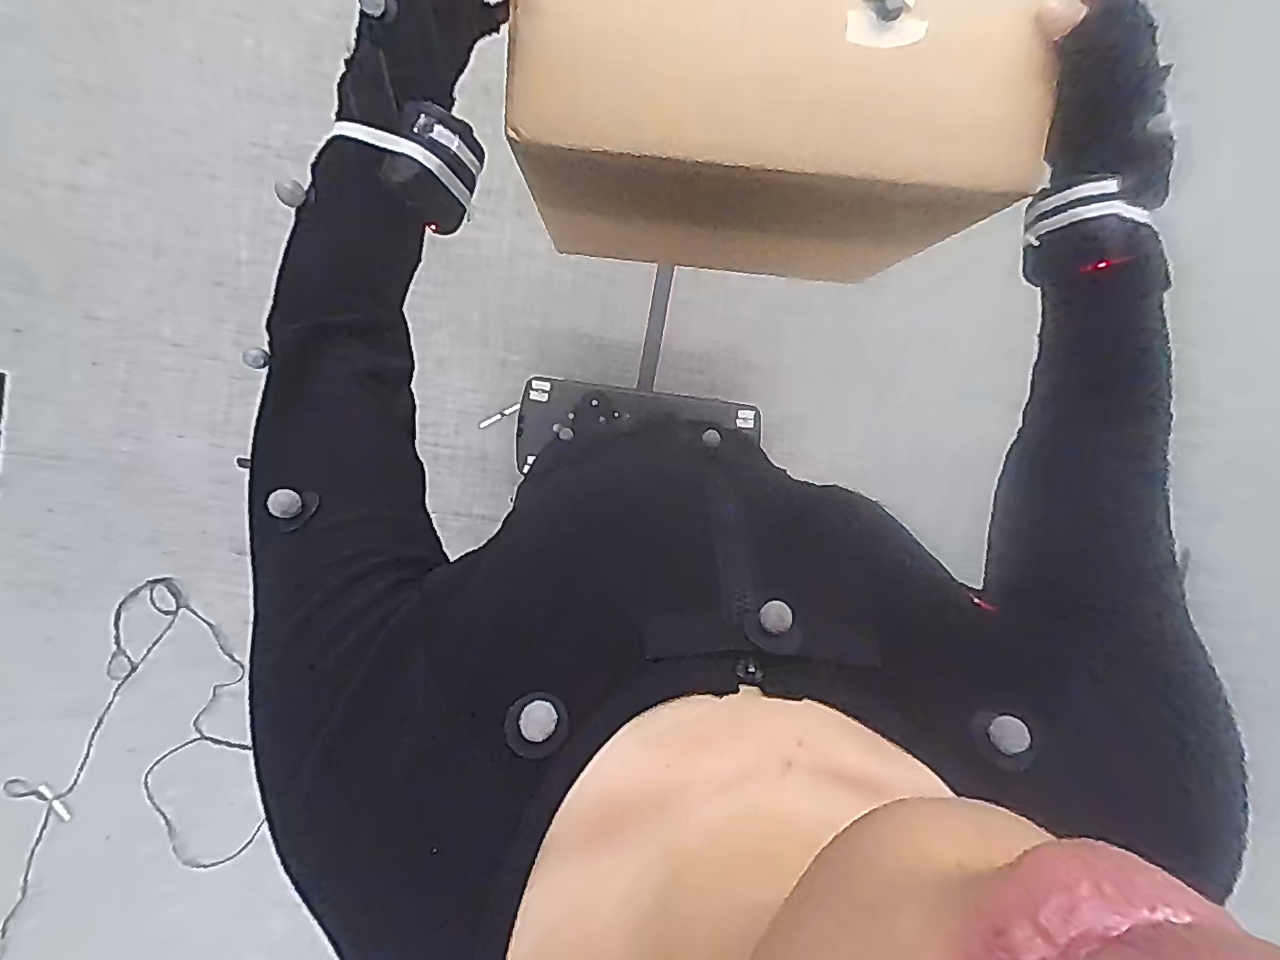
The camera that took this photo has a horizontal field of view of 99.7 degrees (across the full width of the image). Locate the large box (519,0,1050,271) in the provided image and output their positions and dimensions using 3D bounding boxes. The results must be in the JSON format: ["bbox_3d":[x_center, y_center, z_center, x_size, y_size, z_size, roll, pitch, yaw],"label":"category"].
[{"bbox_3d":[0.106,-0.417,0.543,0.408,0.320,0.320,4,99,-3],"label":"large box"}]

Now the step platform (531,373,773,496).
[{"bbox_3d":[0.032,-0.131,1.566,0.684,0.204,0.286,6,96,-4],"label":"step platform"}]
